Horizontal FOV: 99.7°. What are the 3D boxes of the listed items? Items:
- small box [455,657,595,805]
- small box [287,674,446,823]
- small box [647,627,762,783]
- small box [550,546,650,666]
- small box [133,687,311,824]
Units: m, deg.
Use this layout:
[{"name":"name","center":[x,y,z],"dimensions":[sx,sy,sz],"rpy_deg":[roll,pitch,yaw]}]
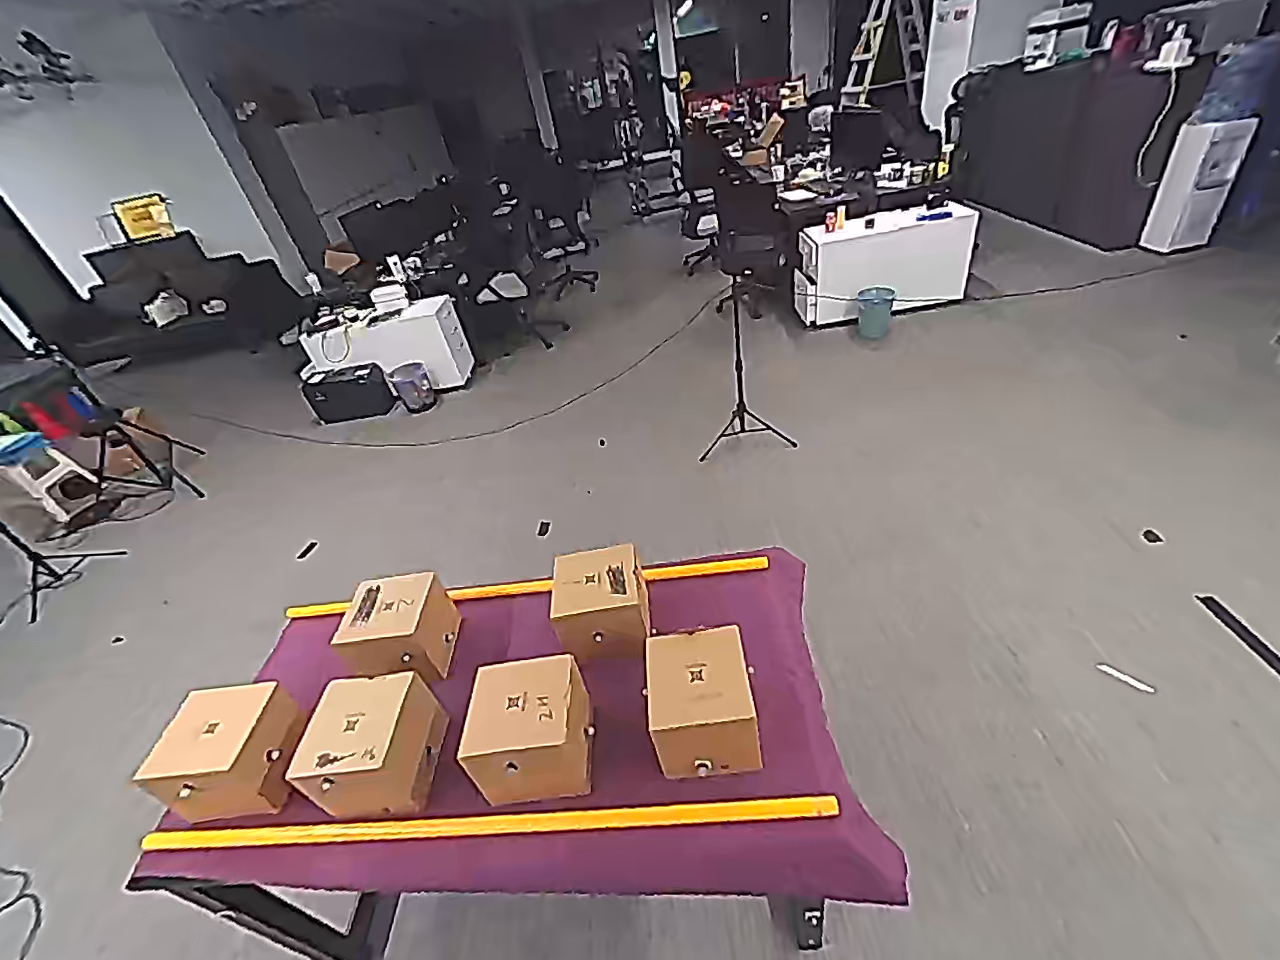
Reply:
[{"name":"small box","center":[-0.186,0.435,0.933],"dimensions":[0.179,0.176,0.168],"rpy_deg":[-9,35,5]},{"name":"small box","center":[-0.469,0.476,0.962],"dimensions":[0.168,0.176,0.179],"rpy_deg":[-10,36,6]},{"name":"small box","center":[0.106,0.380,0.919],"dimensions":[0.168,0.176,0.179],"rpy_deg":[-10,34,6]},{"name":"small box","center":[-0.077,0.264,1.128],"dimensions":[0.179,0.176,0.168],"rpy_deg":[-11,38,4]},{"name":"small box","center":[-0.745,0.509,0.999],"dimensions":[0.179,0.176,0.168],"rpy_deg":[-9,36,5]}]
